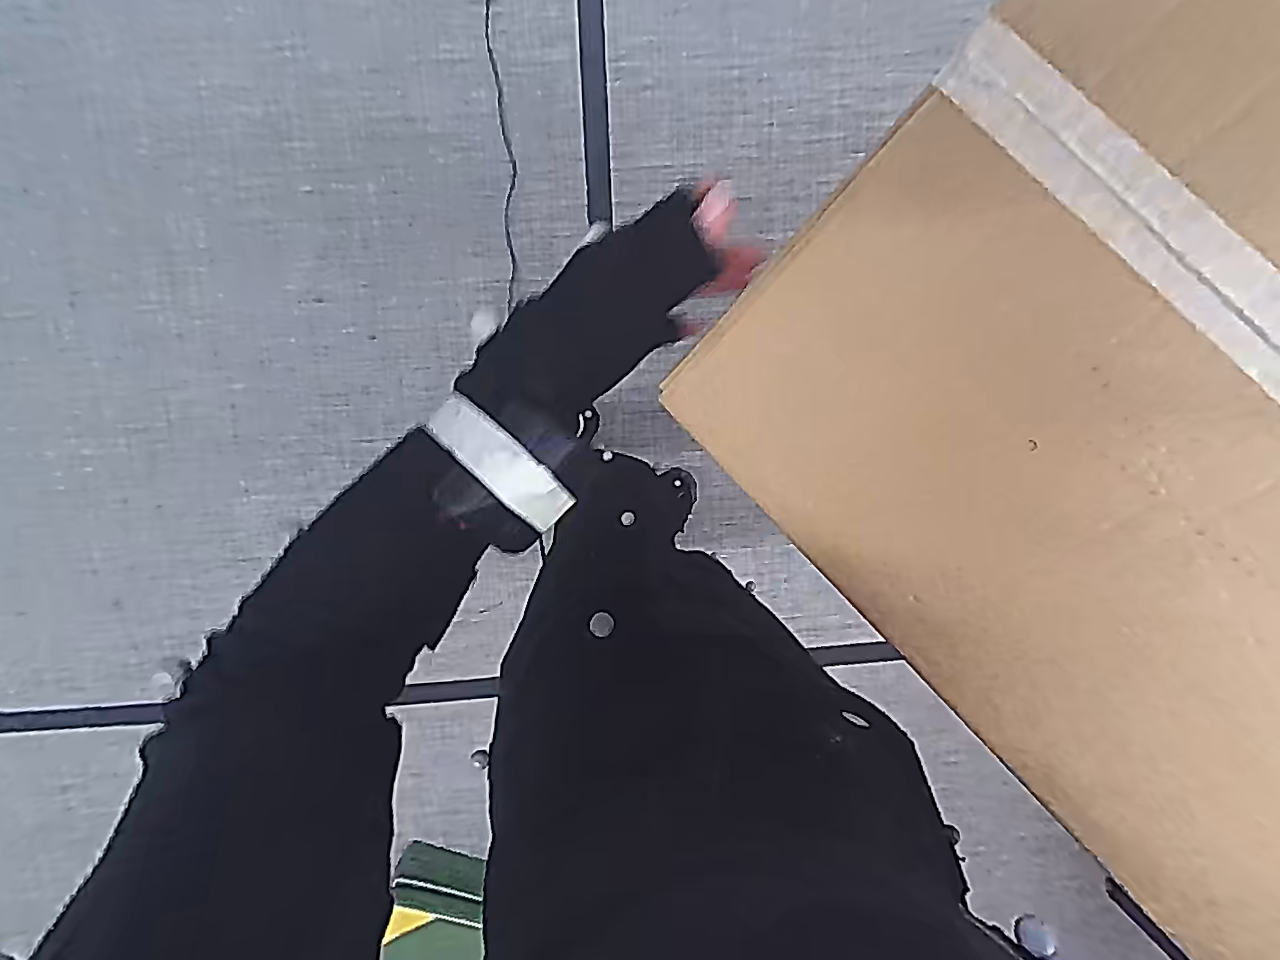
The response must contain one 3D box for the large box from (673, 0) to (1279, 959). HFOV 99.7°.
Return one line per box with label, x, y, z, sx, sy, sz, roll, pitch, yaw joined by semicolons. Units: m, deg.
large box;0.298;-0.027;0.304;0.408;0.320;0.320;47;120;4
